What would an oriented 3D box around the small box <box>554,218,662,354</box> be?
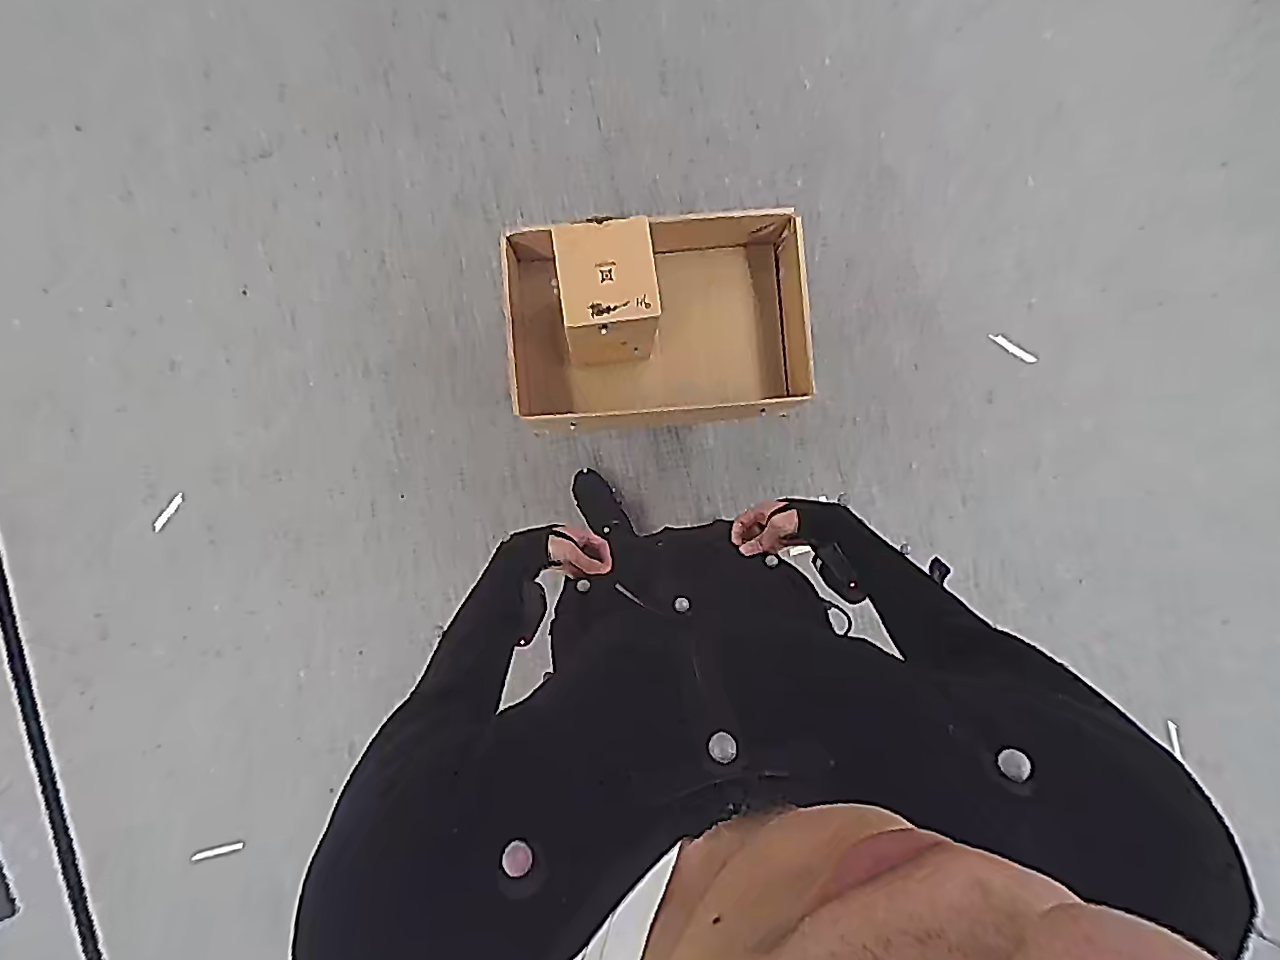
[{"bbox_3d":[-0.059,-0.343,0.980,0.168,0.176,0.179,-8,89,-3],"label":"small box"}]
